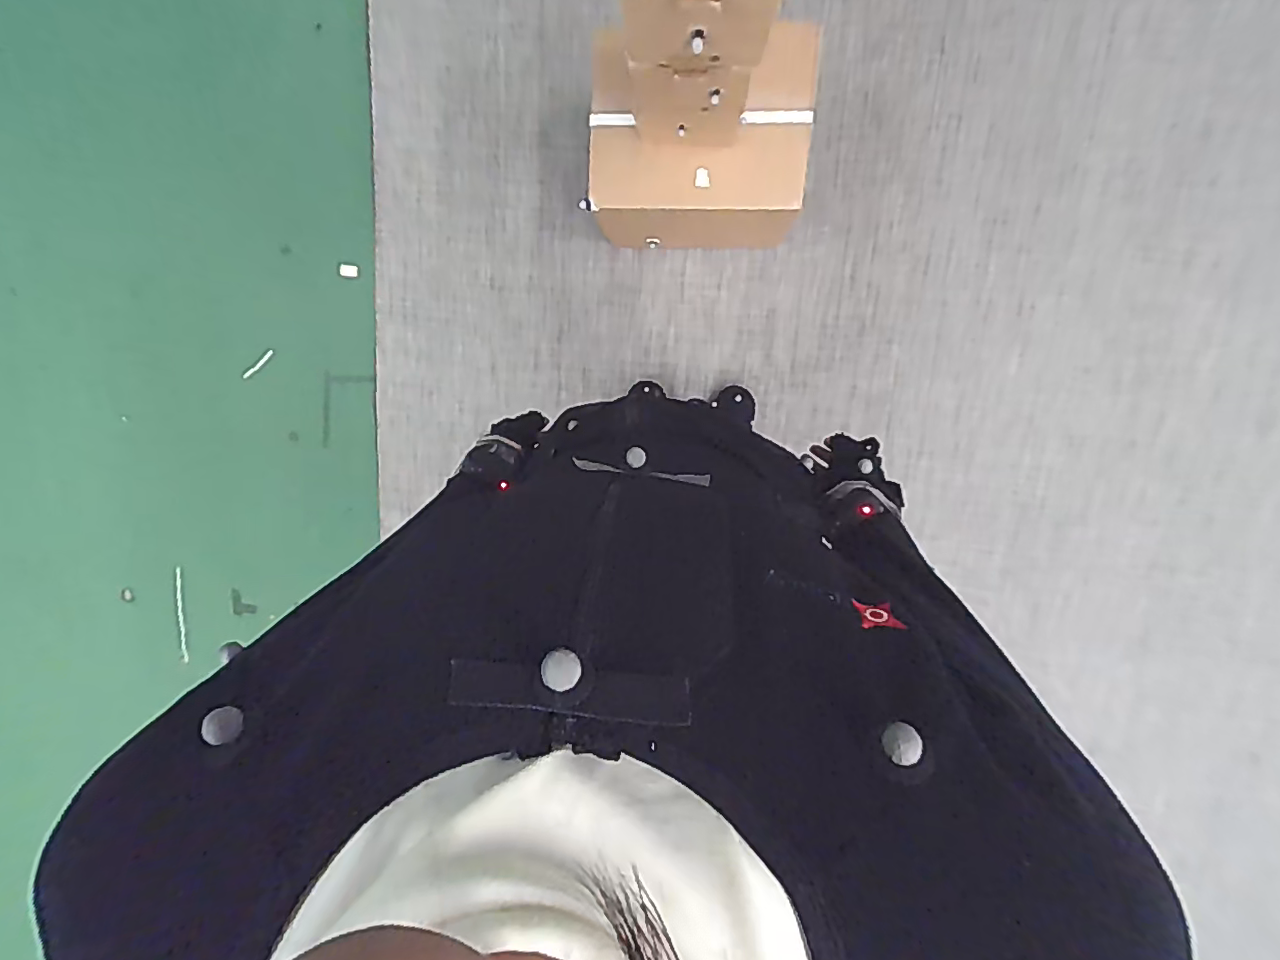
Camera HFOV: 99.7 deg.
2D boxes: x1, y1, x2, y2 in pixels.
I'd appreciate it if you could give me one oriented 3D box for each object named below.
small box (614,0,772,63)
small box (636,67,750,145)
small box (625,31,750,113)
[{"bbox_3d":[0.067,-0.589,0.590,0.168,0.176,0.179,4,108,5],"label":"small box"},{"bbox_3d":[0.090,-0.678,0.902,0.179,0.176,0.168,3,107,5],"label":"small box"},{"bbox_3d":[0.073,-0.634,0.748,0.168,0.176,0.179,3,106,5],"label":"small box"}]
